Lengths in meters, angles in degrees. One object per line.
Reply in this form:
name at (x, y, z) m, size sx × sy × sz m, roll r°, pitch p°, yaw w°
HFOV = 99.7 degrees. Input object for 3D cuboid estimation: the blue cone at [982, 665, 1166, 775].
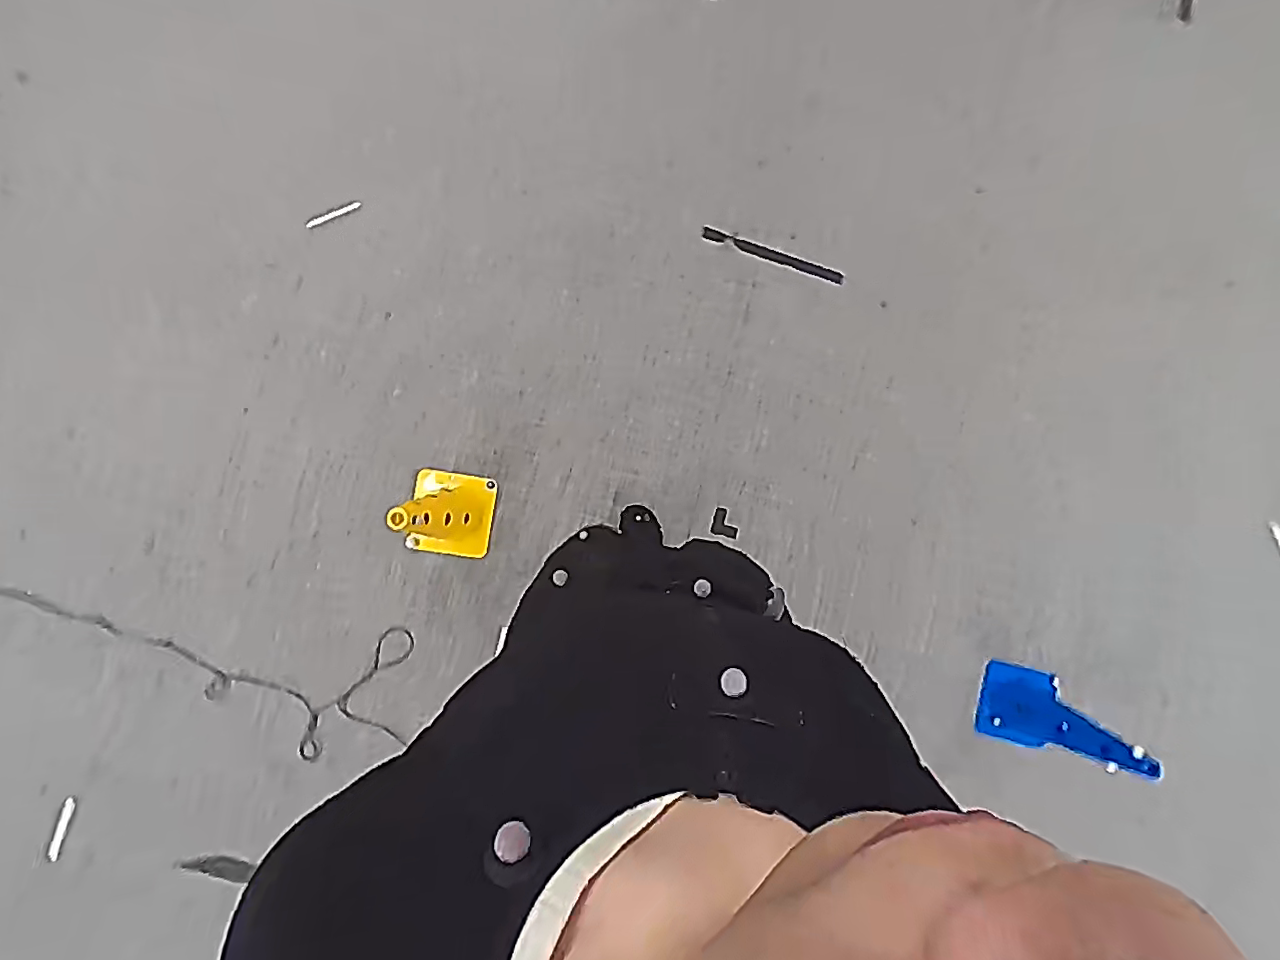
blue cone at (0.999, 0.582, 1.241) m, size 0.193 × 0.380 × 0.192 m, roll 17°, pitch 86°, yaw -3°
